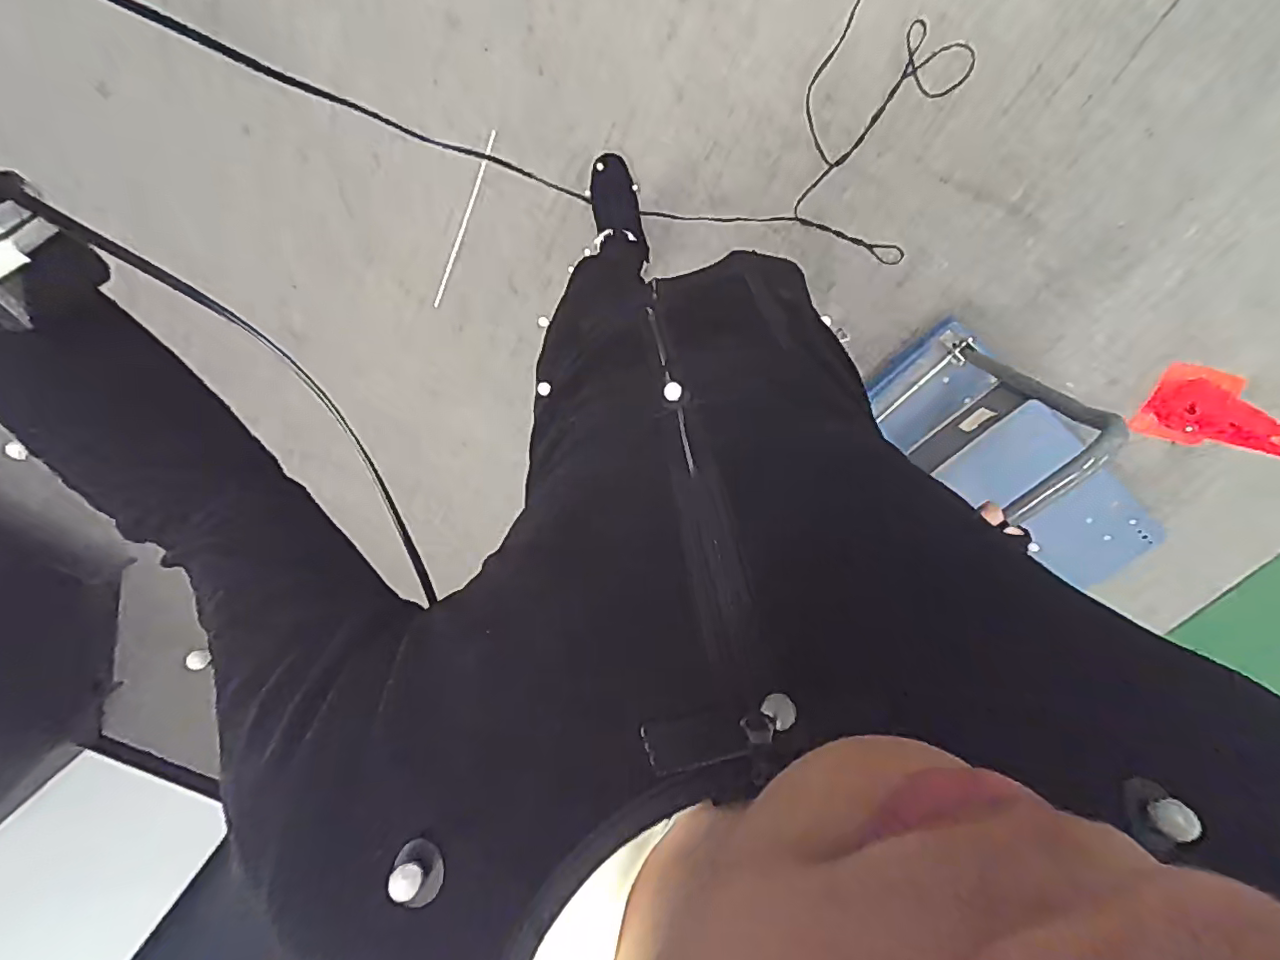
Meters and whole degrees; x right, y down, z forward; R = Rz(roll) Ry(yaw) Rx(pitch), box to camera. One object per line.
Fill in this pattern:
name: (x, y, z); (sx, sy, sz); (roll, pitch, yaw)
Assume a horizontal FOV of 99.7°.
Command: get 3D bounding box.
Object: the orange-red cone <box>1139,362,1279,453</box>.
orange-red cone: (1.444, -0.126, 1.273); (0.198, 0.360, 0.199); (15, 115, -1)
